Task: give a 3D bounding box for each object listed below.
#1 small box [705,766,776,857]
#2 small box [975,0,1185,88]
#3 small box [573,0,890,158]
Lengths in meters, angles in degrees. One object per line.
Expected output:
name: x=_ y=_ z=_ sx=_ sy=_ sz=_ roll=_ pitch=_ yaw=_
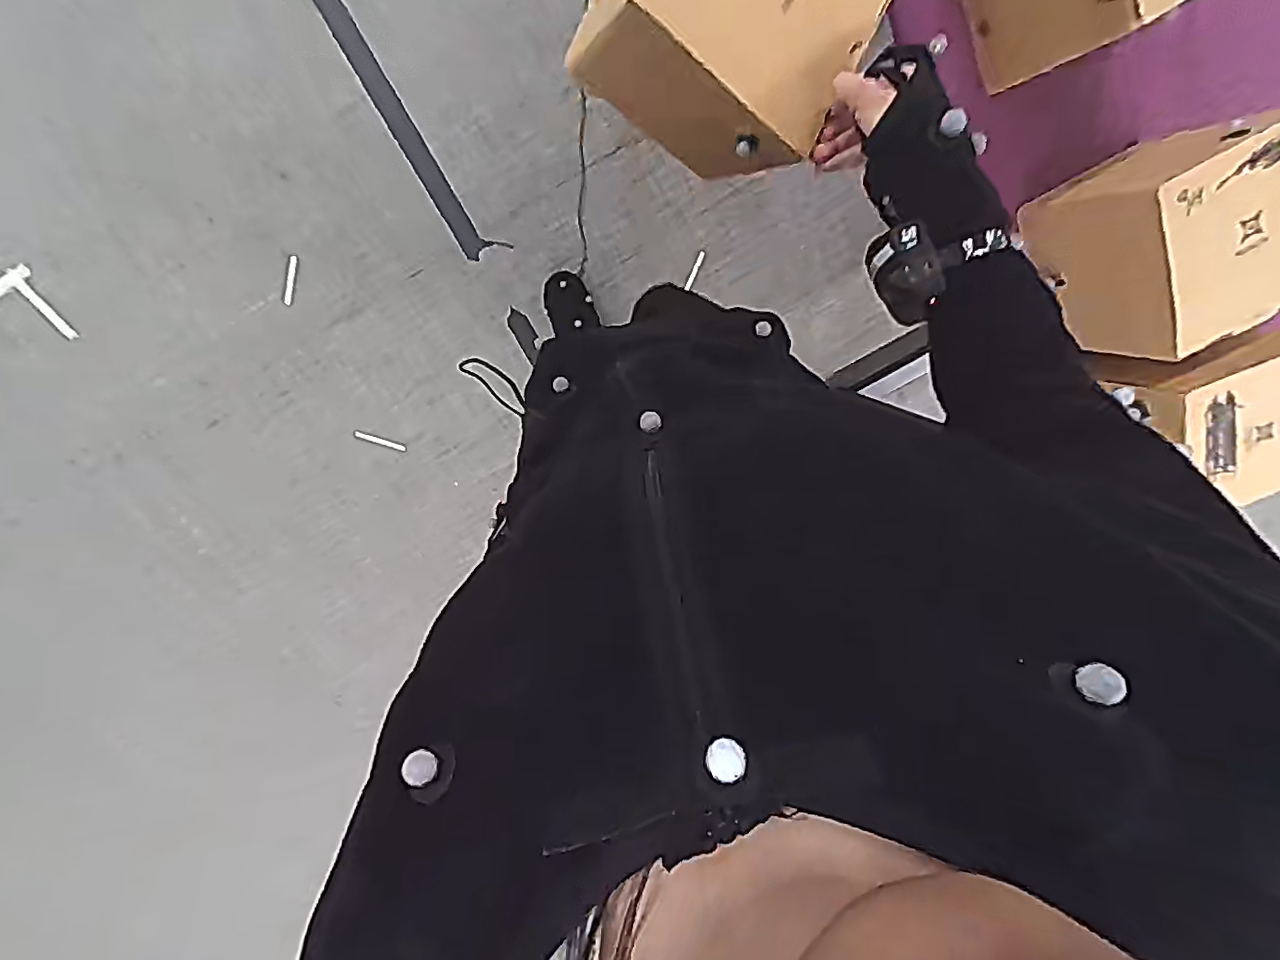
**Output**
small box: x=0.332 y=1.115 z=1.830 sx=0.179 sy=0.176 sz=0.168 roll=-25 pitch=112 yaw=2
small box: x=0.420 y=-0.493 z=0.473 sx=0.179 sy=0.176 sz=0.168 roll=-31 pitch=111 yaw=3
small box: x=0.070 y=-0.384 z=0.425 sx=0.179 sy=0.176 sz=0.168 roll=21 pitch=103 yaw=-31
